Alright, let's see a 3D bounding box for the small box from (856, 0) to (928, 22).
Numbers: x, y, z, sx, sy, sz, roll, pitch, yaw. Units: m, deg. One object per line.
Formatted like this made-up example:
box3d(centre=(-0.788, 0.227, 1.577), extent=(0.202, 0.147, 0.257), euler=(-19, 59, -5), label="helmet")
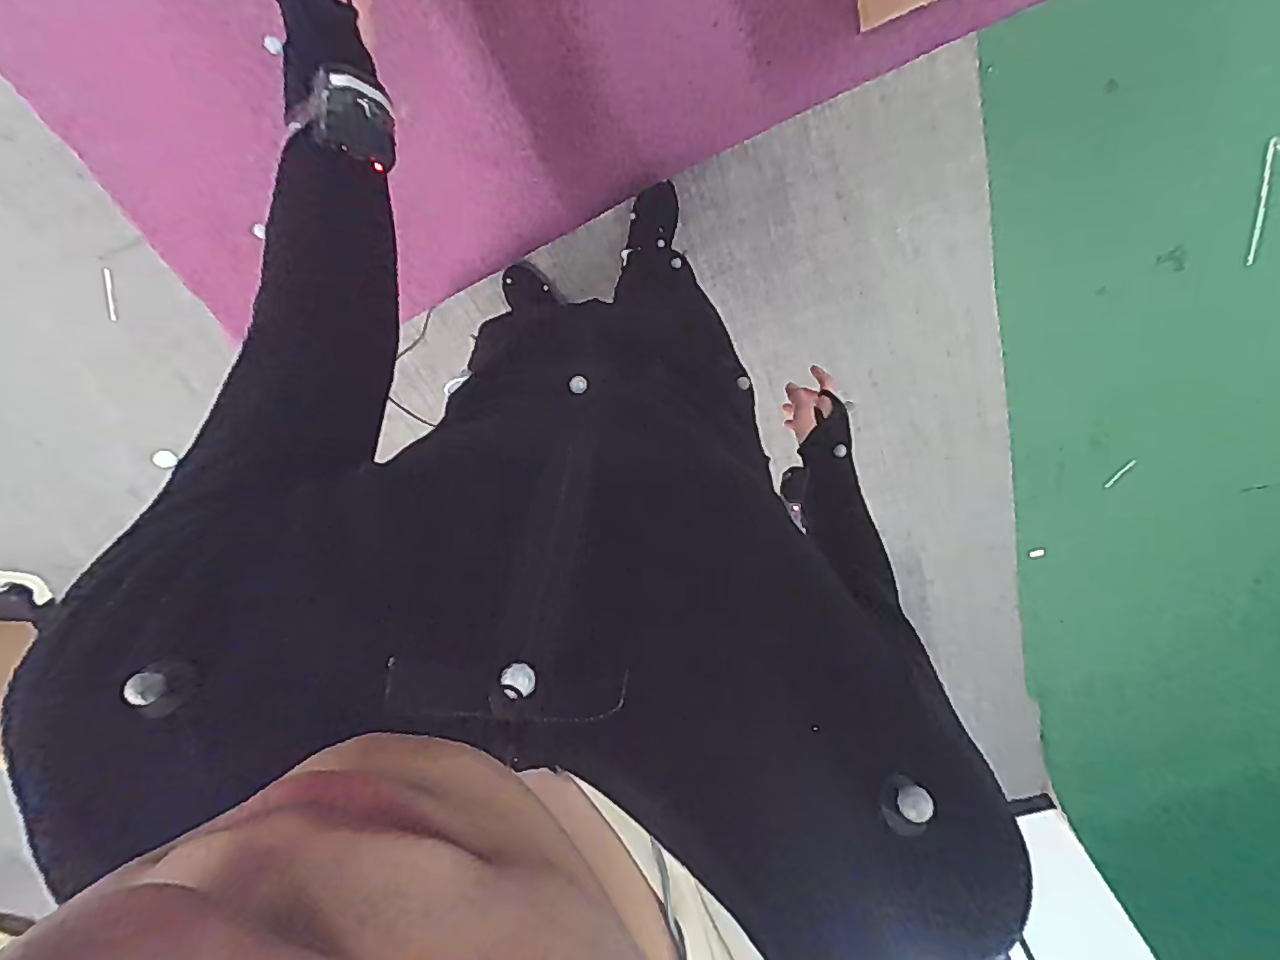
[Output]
box3d(centre=(0.303, -0.559, 0.487), extent=(0.179, 0.176, 0.168), euler=(-17, 120, 11), label="small box")
